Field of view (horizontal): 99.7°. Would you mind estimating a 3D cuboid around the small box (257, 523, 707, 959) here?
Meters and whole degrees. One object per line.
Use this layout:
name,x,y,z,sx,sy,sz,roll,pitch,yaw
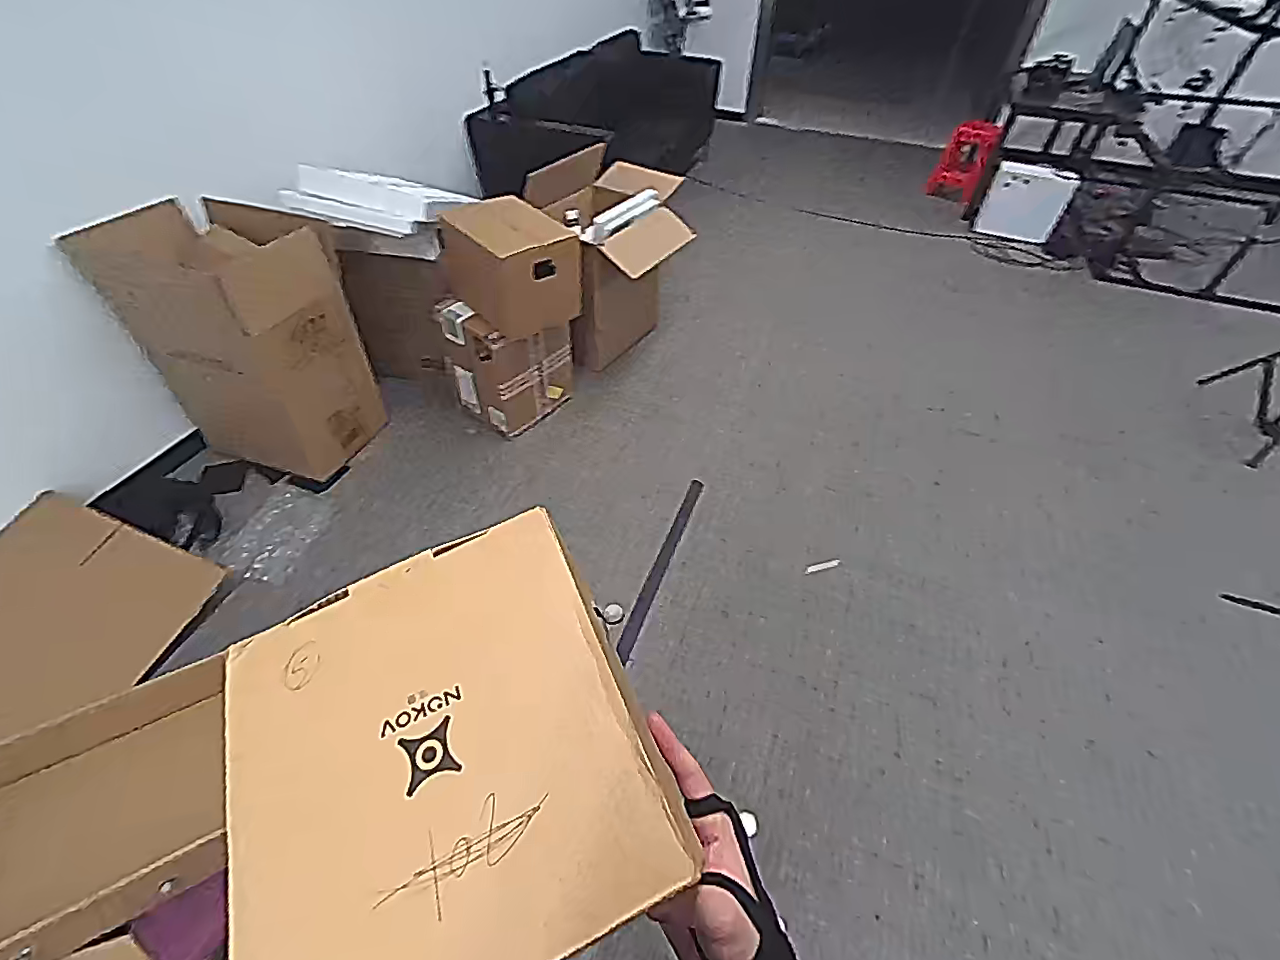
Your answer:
small box,-0.075,0.160,0.304,0.168,0.176,0.179,-25,58,-8
